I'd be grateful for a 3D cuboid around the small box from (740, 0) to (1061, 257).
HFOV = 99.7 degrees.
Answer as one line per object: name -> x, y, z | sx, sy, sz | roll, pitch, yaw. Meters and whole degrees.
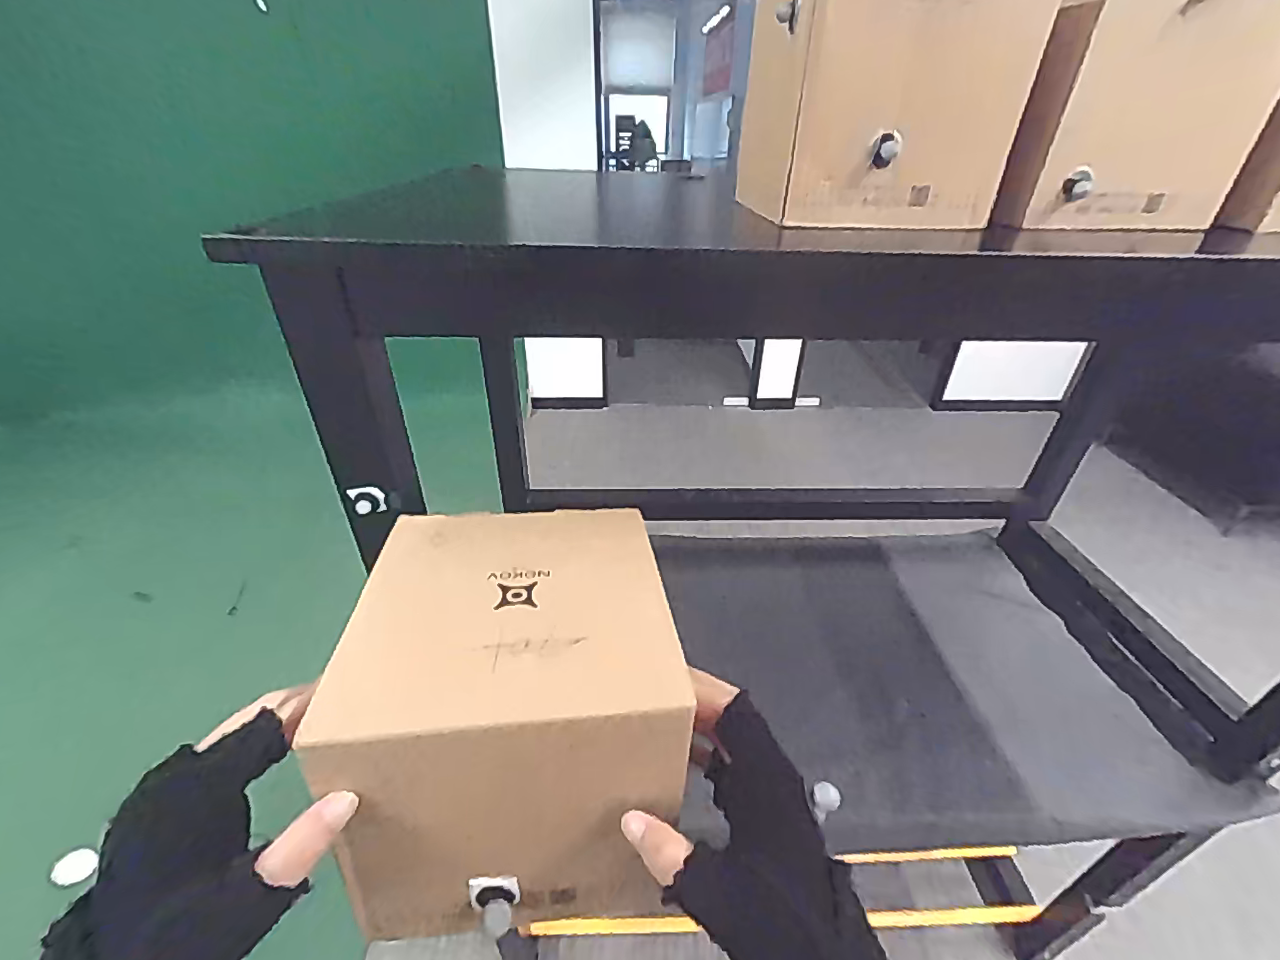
small box -> 0.189, -0.299, 0.461 | 0.168, 0.176, 0.179 | -1, 34, -4
